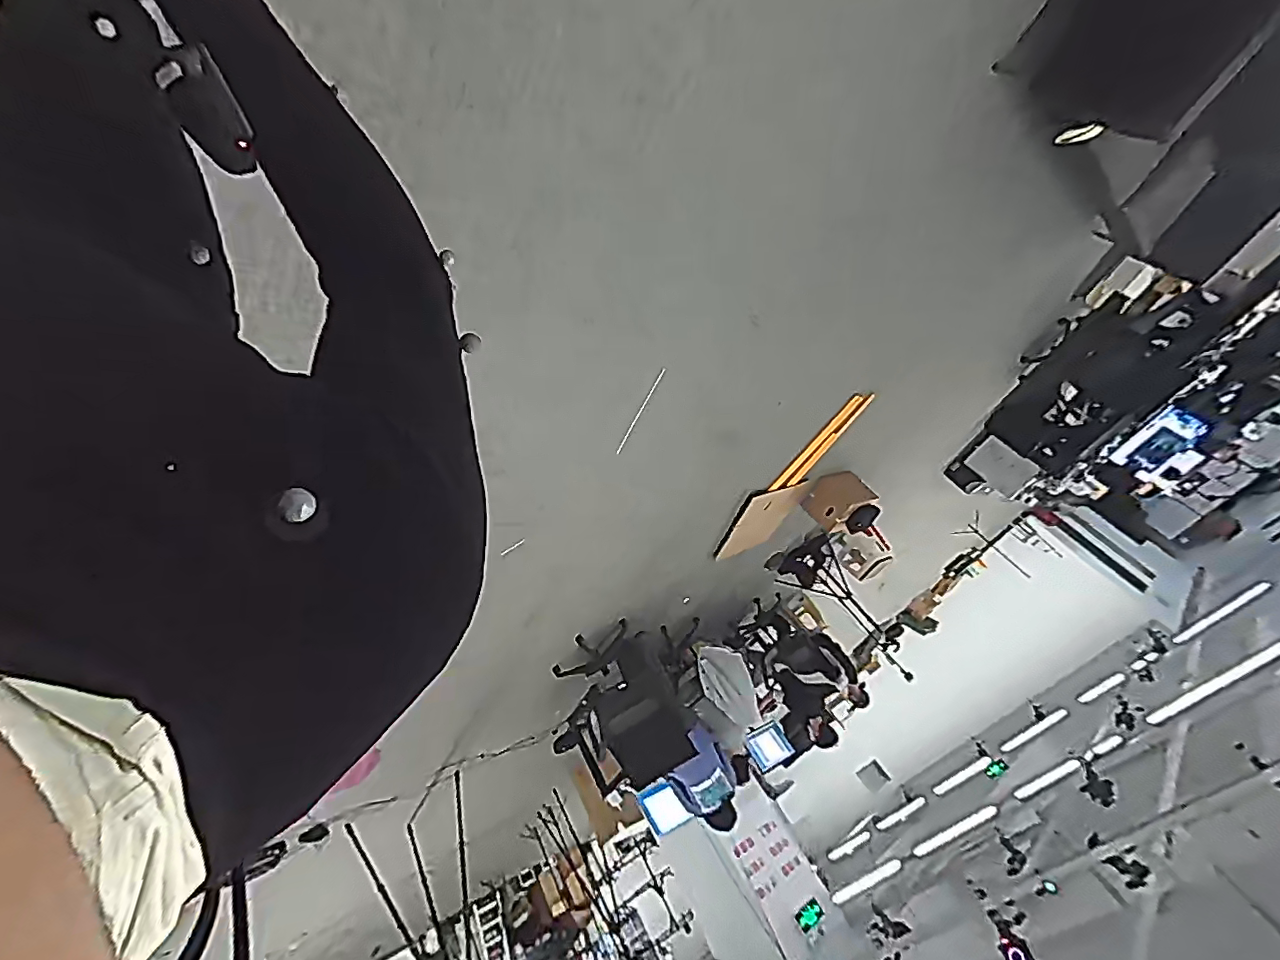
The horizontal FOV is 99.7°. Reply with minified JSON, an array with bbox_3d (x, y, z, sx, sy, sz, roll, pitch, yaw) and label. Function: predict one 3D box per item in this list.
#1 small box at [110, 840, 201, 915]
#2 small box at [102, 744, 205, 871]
[{"bbox_3d":[-1.240,0.950,1.382,0.168,0.176,0.179,-1,134,-43],"label":"small box"},{"bbox_3d":[-1.110,0.741,1.237,0.168,0.176,0.179,-2,135,-43],"label":"small box"}]
